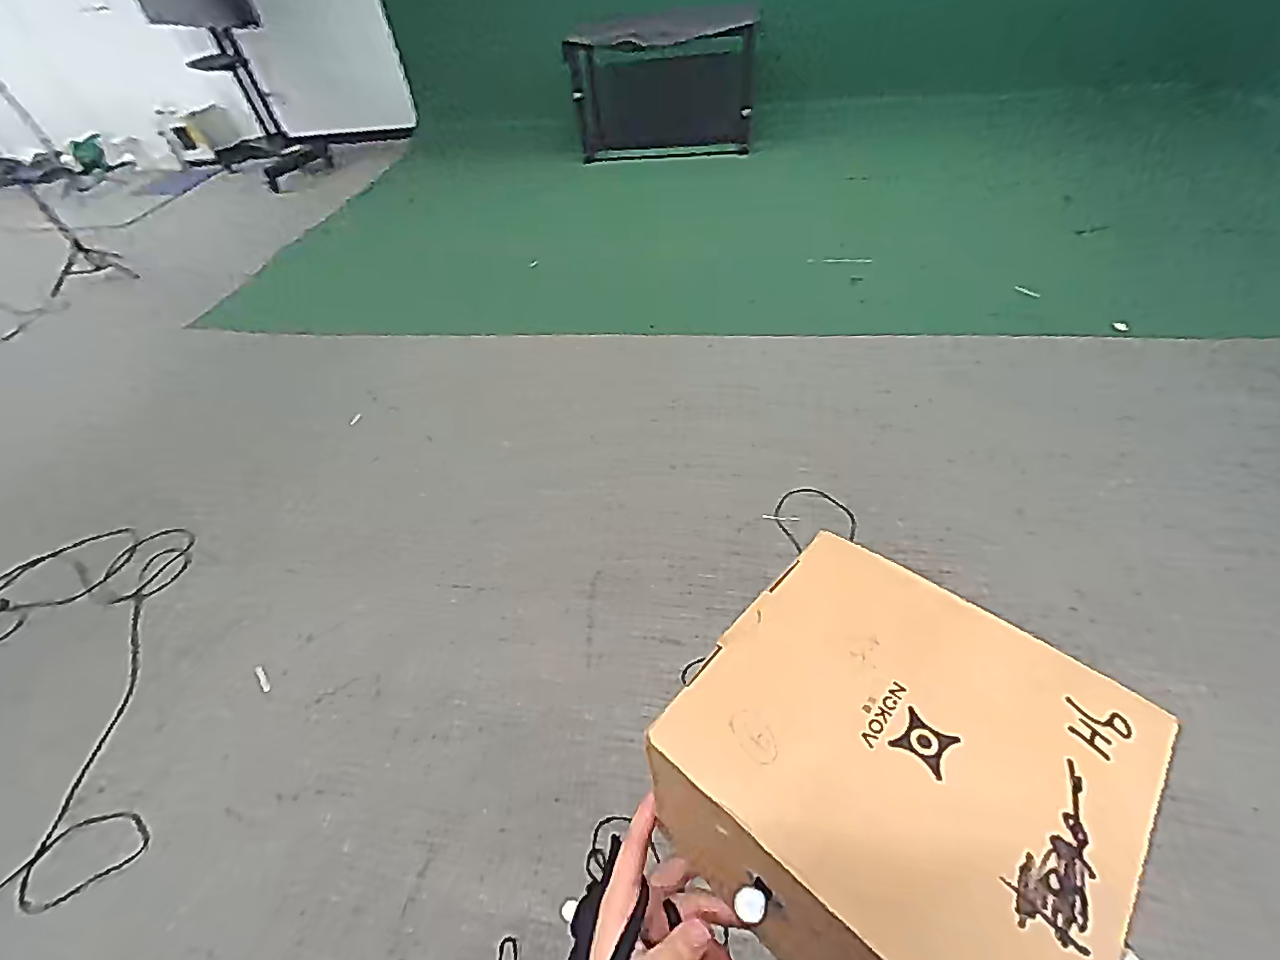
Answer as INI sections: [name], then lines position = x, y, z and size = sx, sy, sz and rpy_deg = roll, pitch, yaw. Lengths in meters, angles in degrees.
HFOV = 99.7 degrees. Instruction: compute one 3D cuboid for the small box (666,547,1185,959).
[small box]
position = 0.133, 0.178, 0.303
size = 0.179, 0.176, 0.168
rpy_deg = 30, 54, 32
